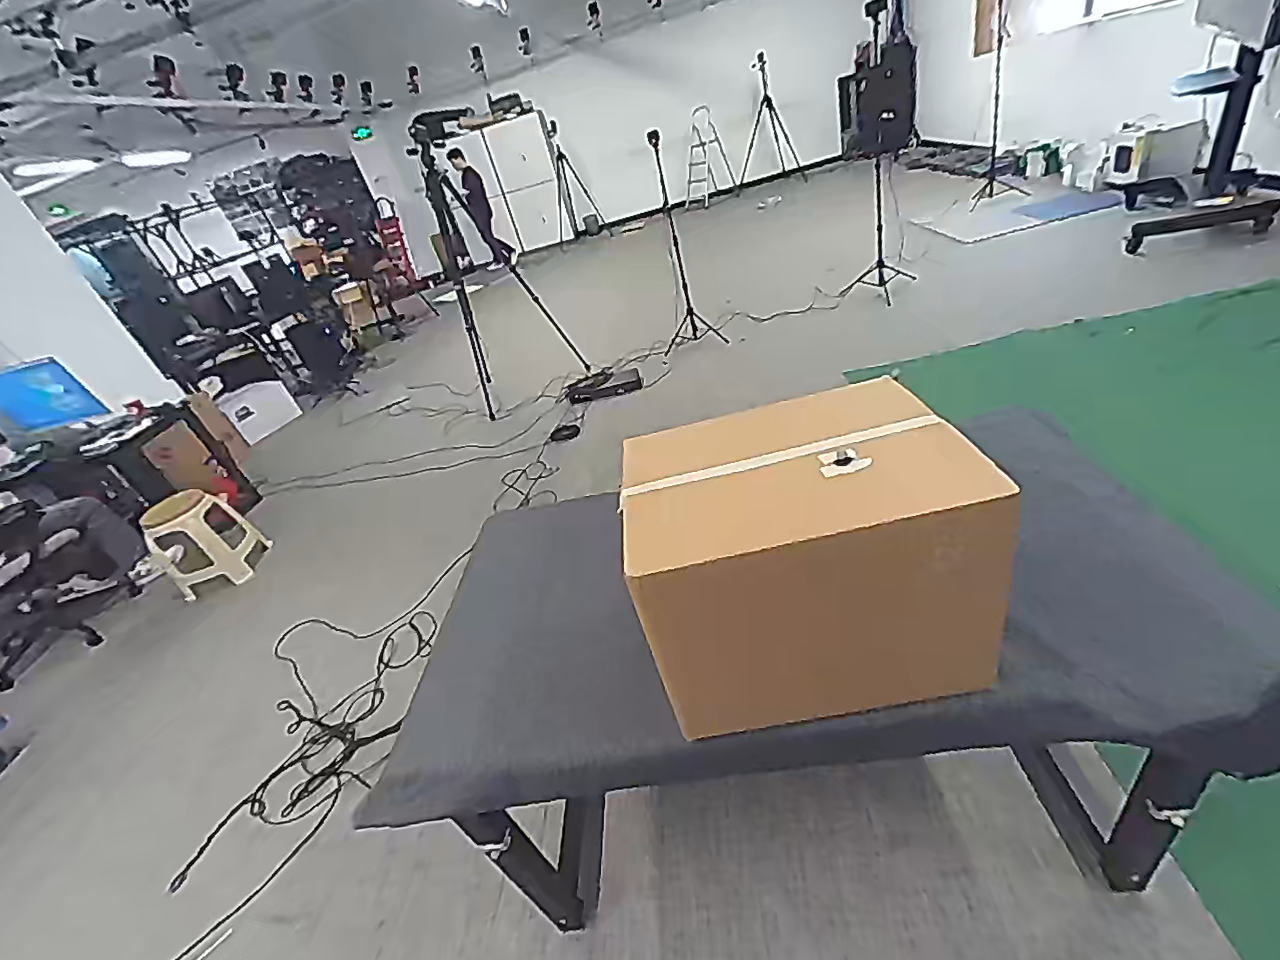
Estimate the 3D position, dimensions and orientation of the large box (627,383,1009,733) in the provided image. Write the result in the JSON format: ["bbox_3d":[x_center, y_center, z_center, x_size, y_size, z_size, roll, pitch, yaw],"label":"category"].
[{"bbox_3d":[0.212,0.102,0.765,0.408,0.320,0.320,-13,32,6],"label":"large box"}]
